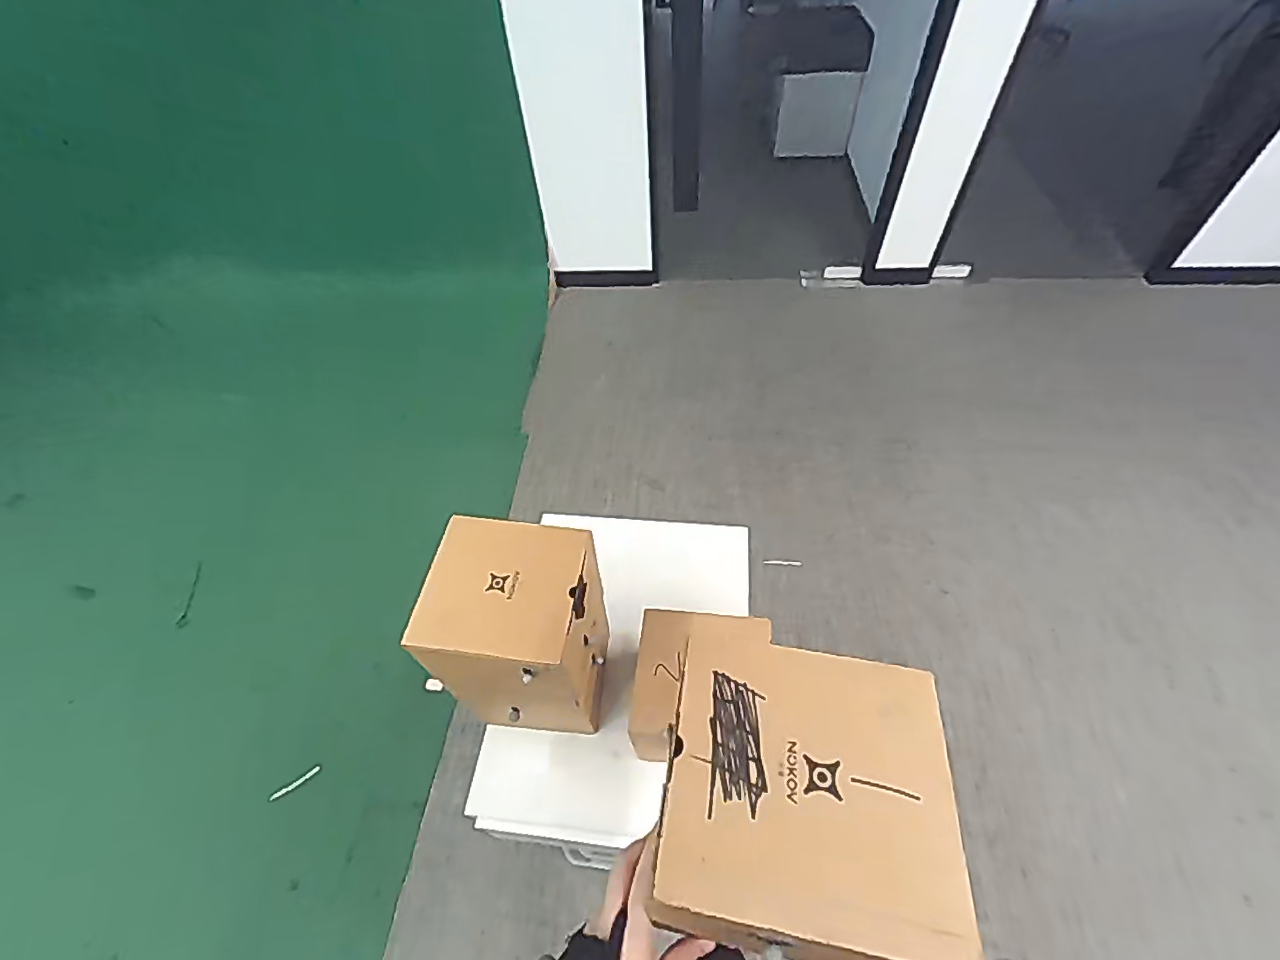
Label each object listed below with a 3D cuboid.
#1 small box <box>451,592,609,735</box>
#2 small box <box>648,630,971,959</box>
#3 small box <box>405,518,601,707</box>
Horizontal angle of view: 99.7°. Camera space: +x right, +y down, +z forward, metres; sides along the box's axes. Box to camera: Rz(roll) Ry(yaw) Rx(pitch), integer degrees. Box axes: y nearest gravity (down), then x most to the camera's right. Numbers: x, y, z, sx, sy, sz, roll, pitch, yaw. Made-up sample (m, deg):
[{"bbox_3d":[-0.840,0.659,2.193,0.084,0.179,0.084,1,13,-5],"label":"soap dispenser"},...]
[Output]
[{"bbox_3d":[-0.148,0.266,0.801,0.179,0.176,0.168,4,52,5],"label":"small box"},{"bbox_3d":[0.106,0.239,0.404,0.179,0.176,0.168,8,47,8],"label":"small box"},{"bbox_3d":[-0.152,0.168,0.671,0.179,0.176,0.168,6,52,5],"label":"small box"}]
